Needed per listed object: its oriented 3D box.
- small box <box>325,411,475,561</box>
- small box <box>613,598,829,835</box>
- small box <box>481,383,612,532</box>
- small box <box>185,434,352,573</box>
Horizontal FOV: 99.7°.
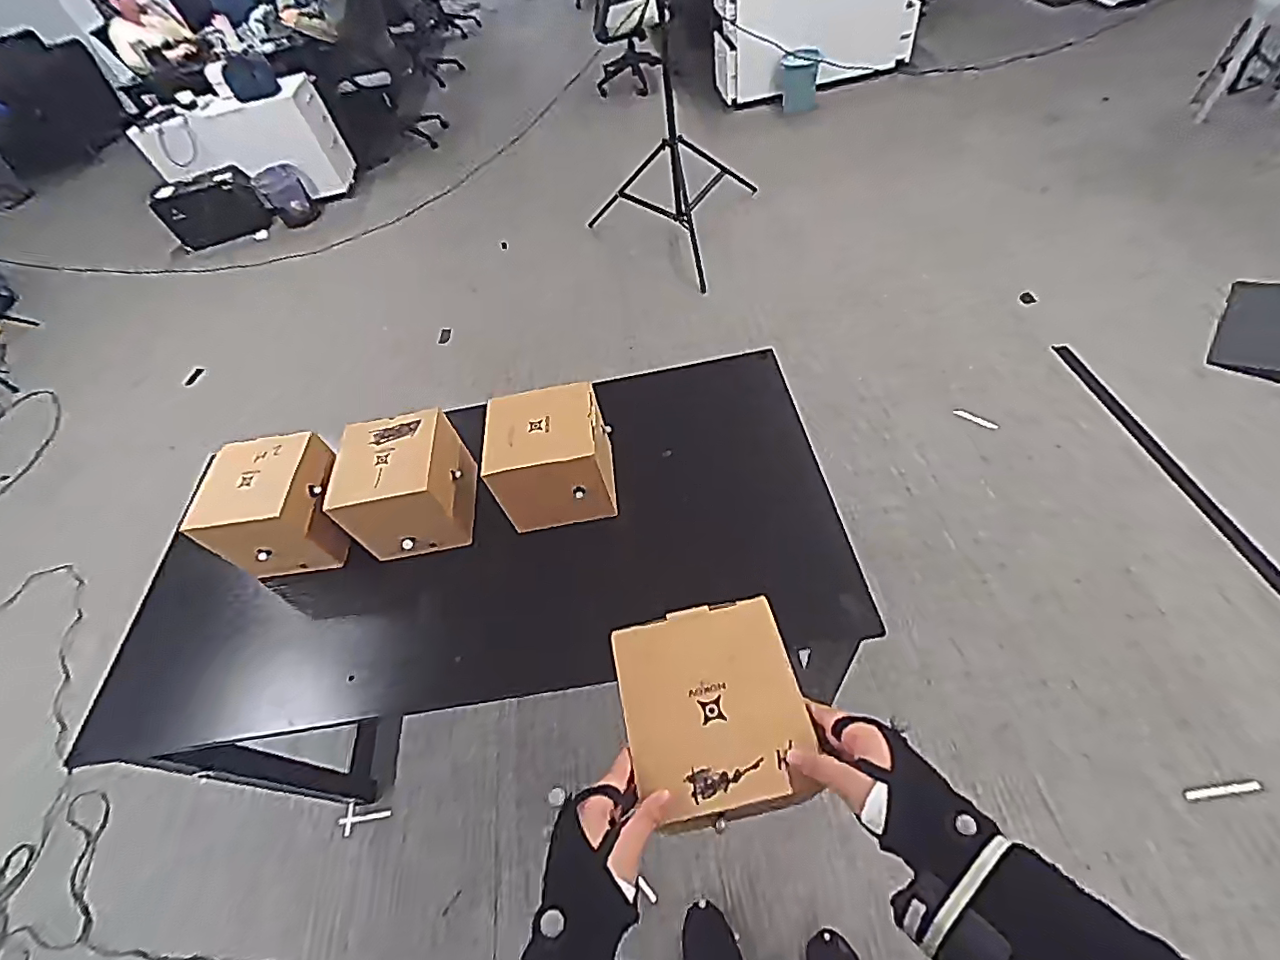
[{"bbox_3d":[-0.390,0.013,0.917,0.168,0.176,0.179,-11,54,2],"label":"small box"},{"bbox_3d":[0.075,0.253,0.569,0.168,0.176,0.179,-14,54,-1],"label":"small box"},{"bbox_3d":[-0.146,-0.033,0.906,0.179,0.176,0.168,-11,51,4],"label":"small box"},{"bbox_3d":[-0.611,0.049,0.934,0.168,0.176,0.179,-8,53,4],"label":"small box"}]
